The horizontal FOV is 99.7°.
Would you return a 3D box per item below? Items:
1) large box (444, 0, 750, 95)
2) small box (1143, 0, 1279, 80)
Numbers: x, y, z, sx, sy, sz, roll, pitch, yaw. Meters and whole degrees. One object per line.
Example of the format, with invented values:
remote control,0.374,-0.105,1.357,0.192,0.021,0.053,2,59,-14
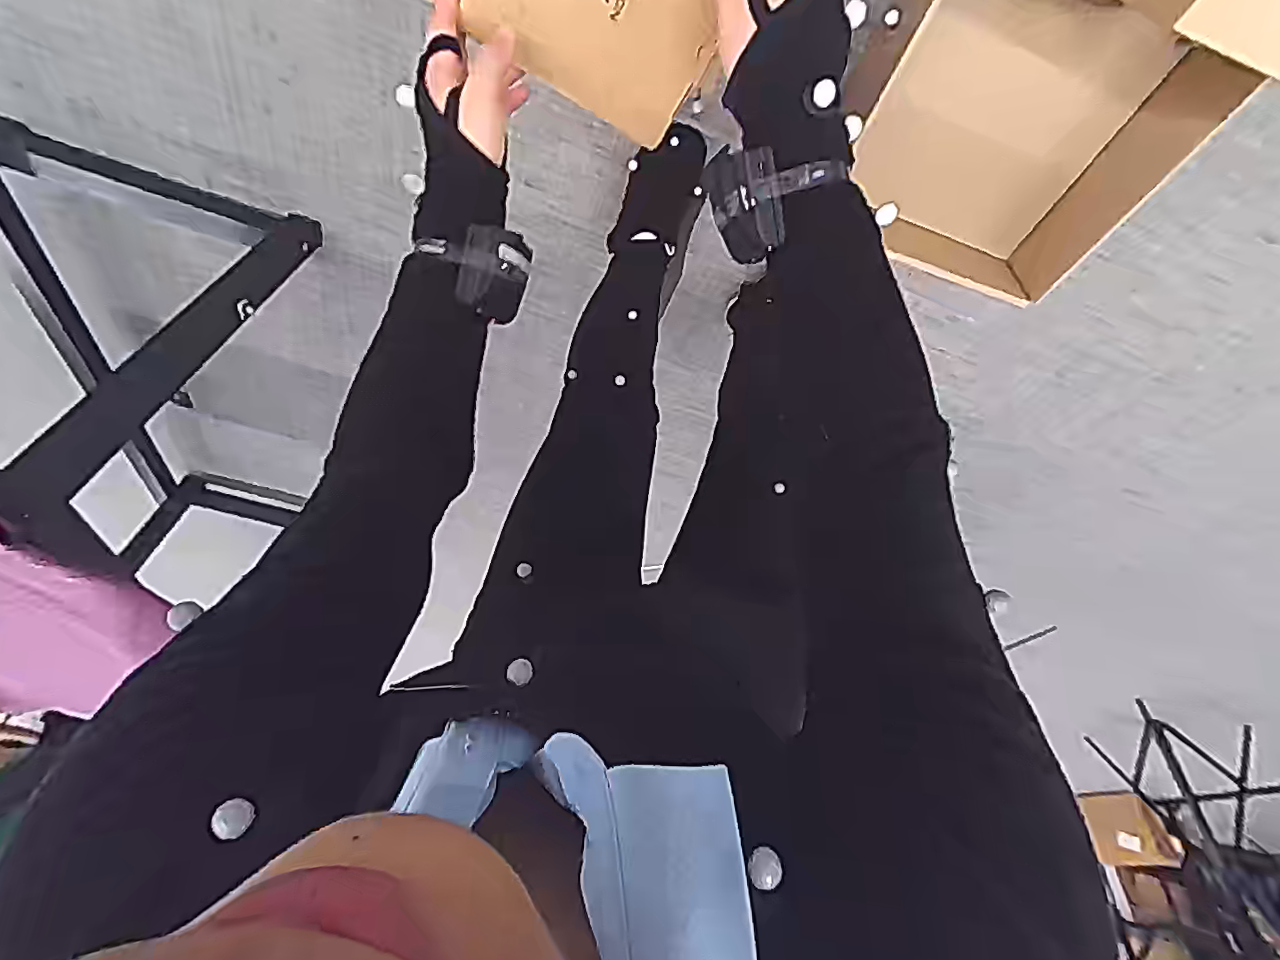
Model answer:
large box,0.003,-0.686,0.508,0.320,0.320,0.408,15,141,-7
small box,0.556,-0.471,0.443,0.168,0.176,0.179,14,142,-10
